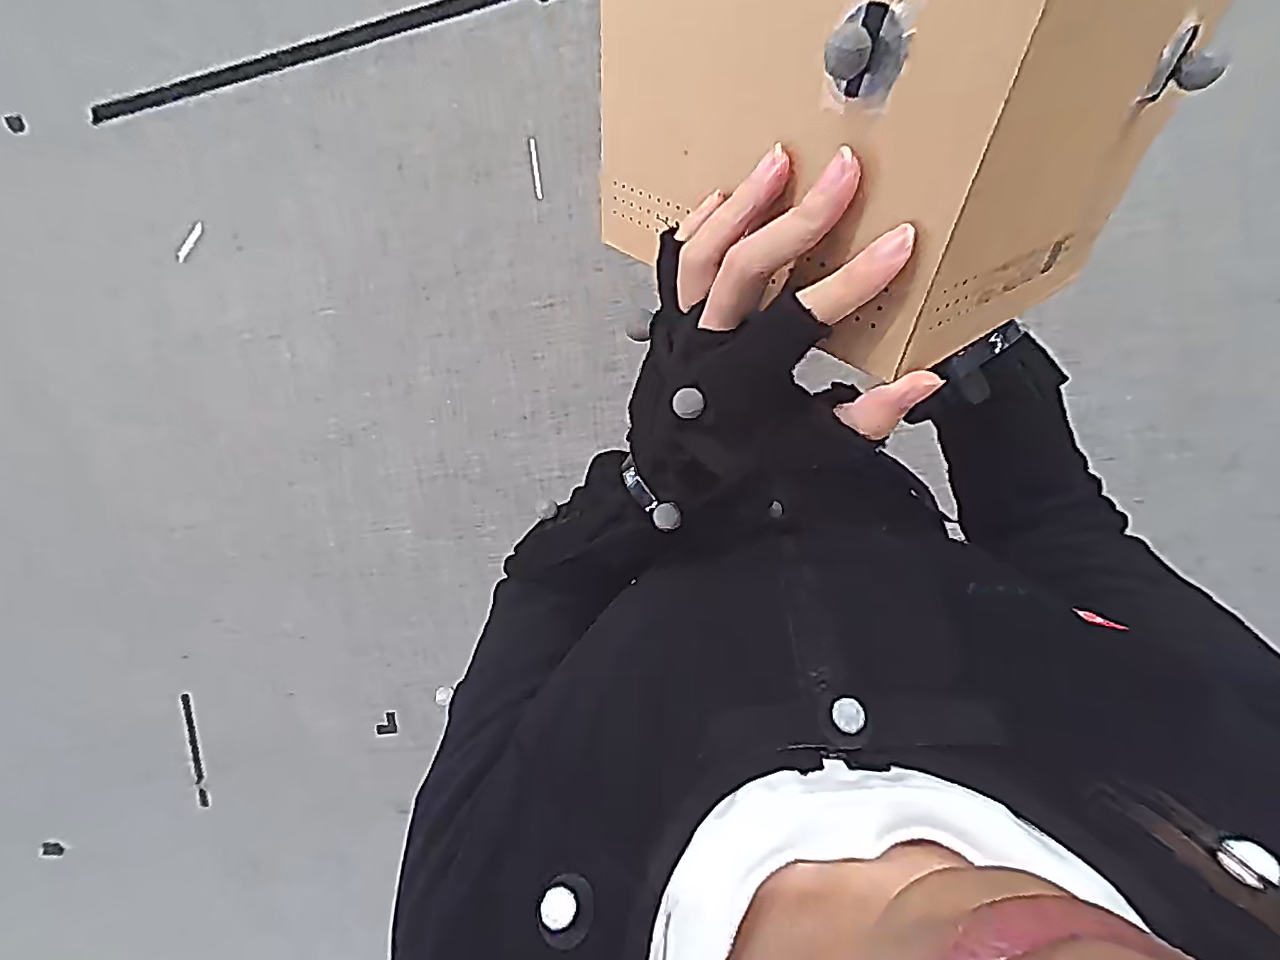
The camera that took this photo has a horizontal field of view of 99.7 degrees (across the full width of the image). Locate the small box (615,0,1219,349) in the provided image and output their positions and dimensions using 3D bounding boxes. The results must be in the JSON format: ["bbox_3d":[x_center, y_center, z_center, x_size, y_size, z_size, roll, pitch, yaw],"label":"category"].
[{"bbox_3d":[0.104,-0.171,0.228,0.179,0.168,0.176,40,143,34],"label":"small box"}]
